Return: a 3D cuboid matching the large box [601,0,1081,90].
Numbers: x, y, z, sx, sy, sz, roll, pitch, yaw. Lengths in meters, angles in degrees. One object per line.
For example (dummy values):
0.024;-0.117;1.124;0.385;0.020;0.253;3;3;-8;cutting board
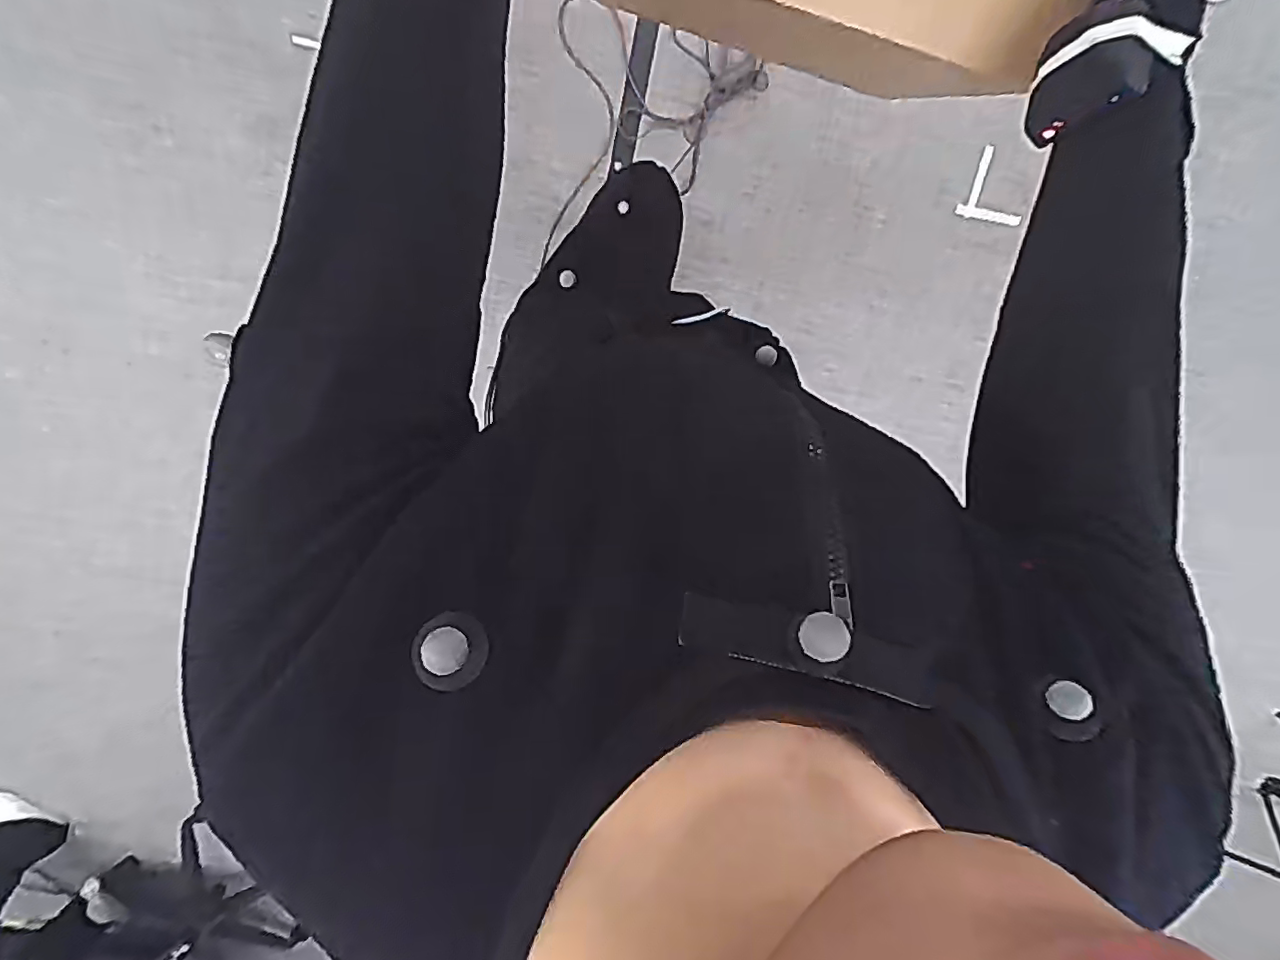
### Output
0.151;-0.553;0.431;0.408;0.320;0.320;12;125;-9;large box
